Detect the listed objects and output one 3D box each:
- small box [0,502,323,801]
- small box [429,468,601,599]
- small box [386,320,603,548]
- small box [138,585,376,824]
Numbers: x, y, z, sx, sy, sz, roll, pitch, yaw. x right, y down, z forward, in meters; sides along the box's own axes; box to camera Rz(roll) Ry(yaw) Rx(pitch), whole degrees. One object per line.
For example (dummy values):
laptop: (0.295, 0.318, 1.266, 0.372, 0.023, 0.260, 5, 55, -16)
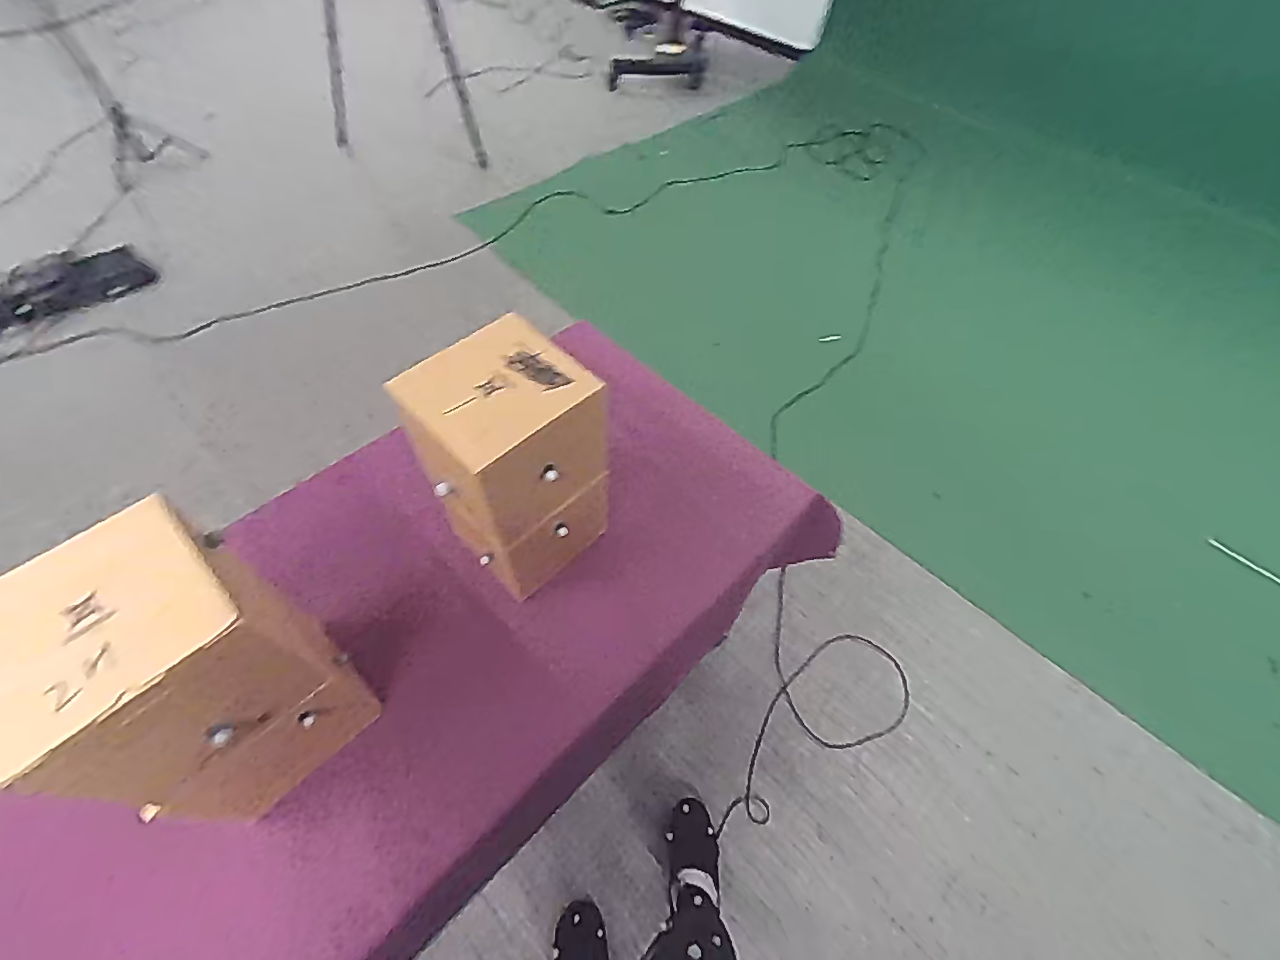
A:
small box: (-0.437, 0.161, 0.494, 0.179, 0.176, 0.168, 38, 61, 22)
small box: (-0.169, 0.042, 0.790, 0.168, 0.176, 0.179, 40, 62, 21)
small box: (-0.163, -0.052, 0.656, 0.168, 0.176, 0.179, 39, 63, 21)
small box: (-0.446, 0.262, 0.624, 0.168, 0.176, 0.179, 38, 61, 22)
